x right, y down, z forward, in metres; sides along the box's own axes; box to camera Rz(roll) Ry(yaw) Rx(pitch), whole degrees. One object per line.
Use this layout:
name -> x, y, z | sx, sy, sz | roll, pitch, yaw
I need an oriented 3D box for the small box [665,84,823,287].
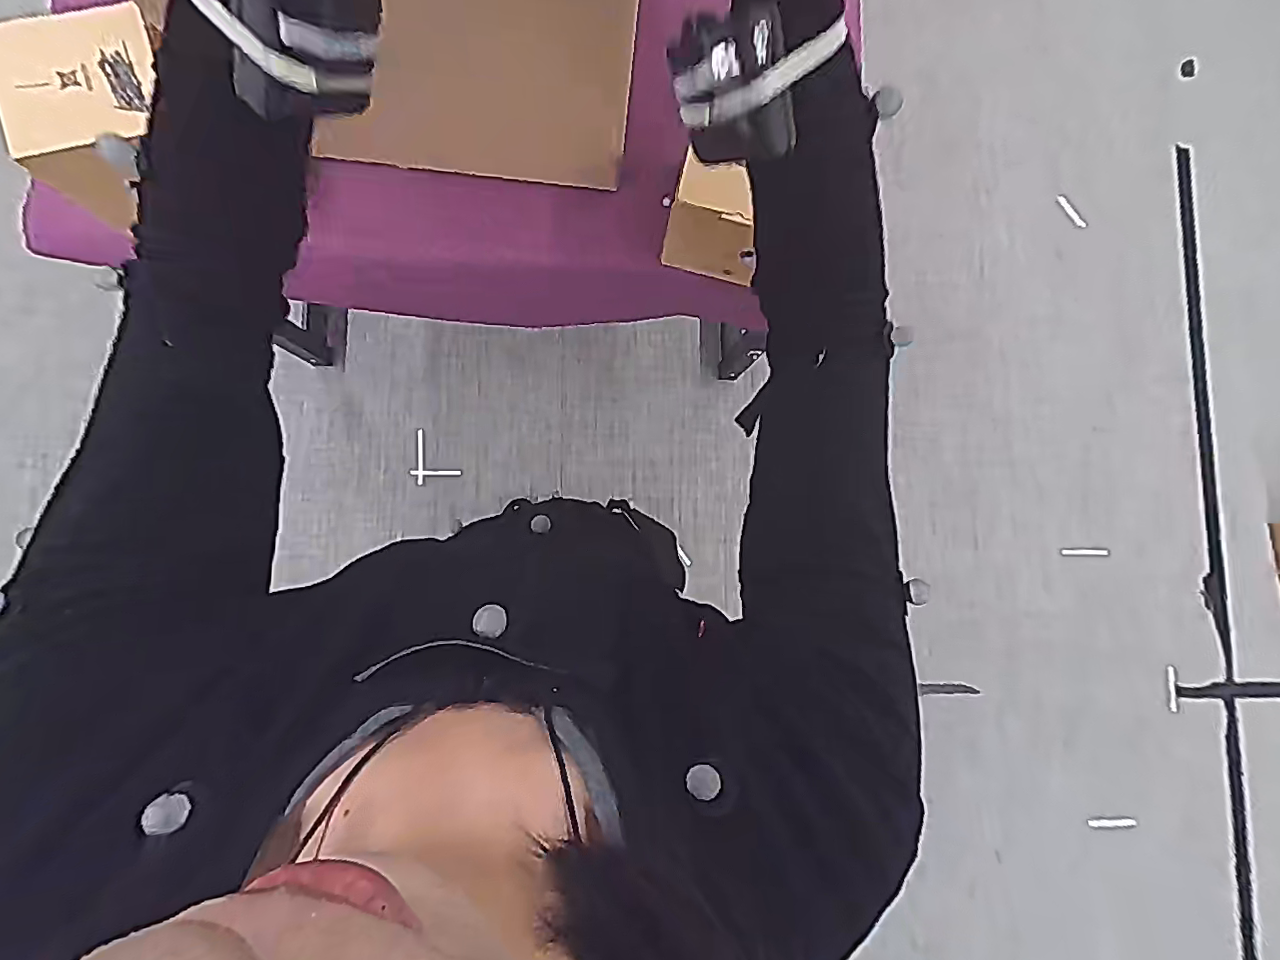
small box -> 0.138, -0.406, 0.777 | 0.168, 0.176, 0.179 | 13, 83, -5
